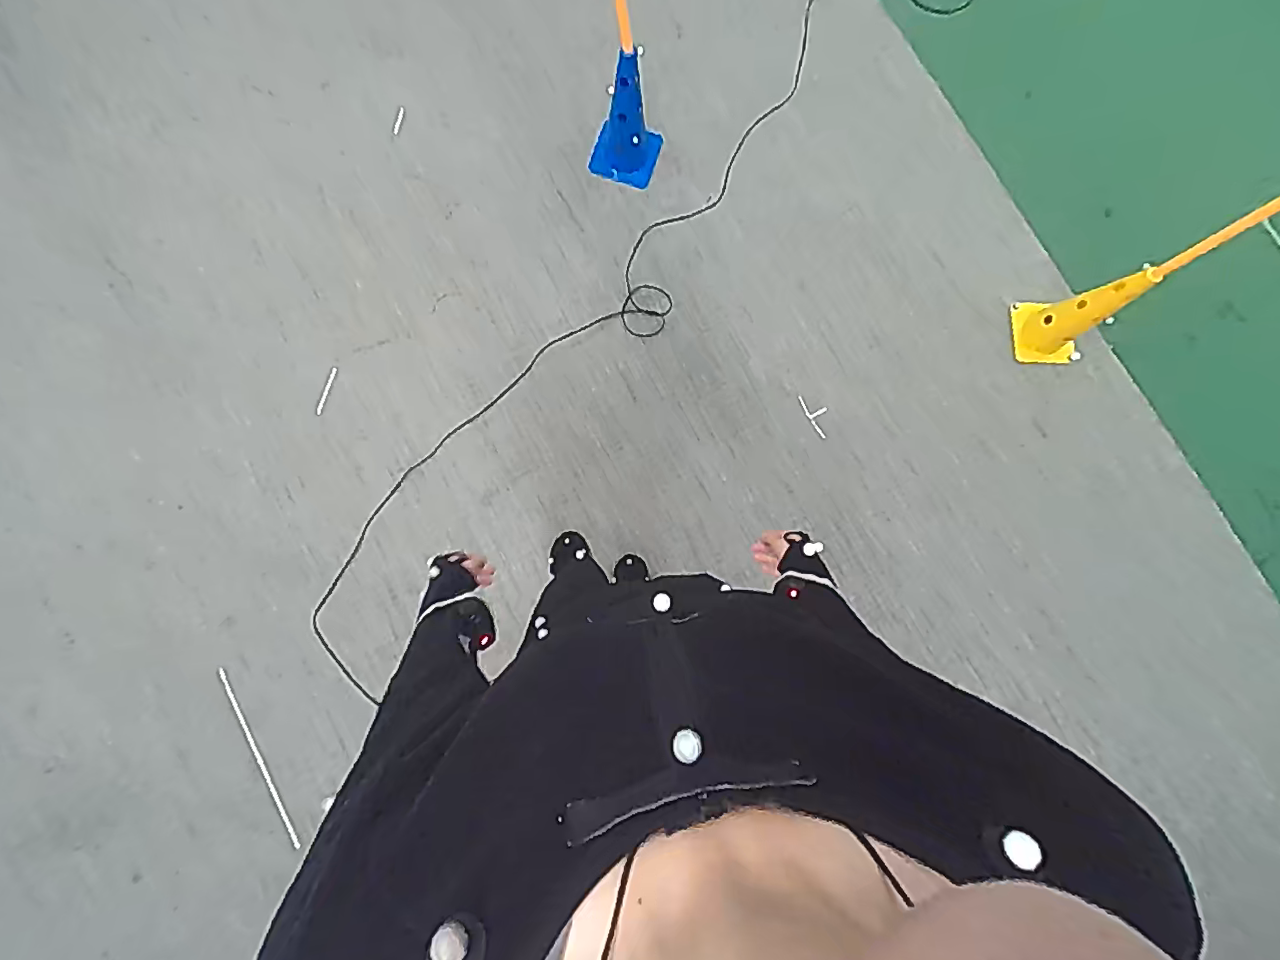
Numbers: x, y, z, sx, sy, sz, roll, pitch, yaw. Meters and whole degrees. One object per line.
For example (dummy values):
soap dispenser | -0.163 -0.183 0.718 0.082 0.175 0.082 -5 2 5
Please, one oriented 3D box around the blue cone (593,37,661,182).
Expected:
blue cone | -0.037 -1.050 1.527 0.193 0.380 0.192 16 81 1
